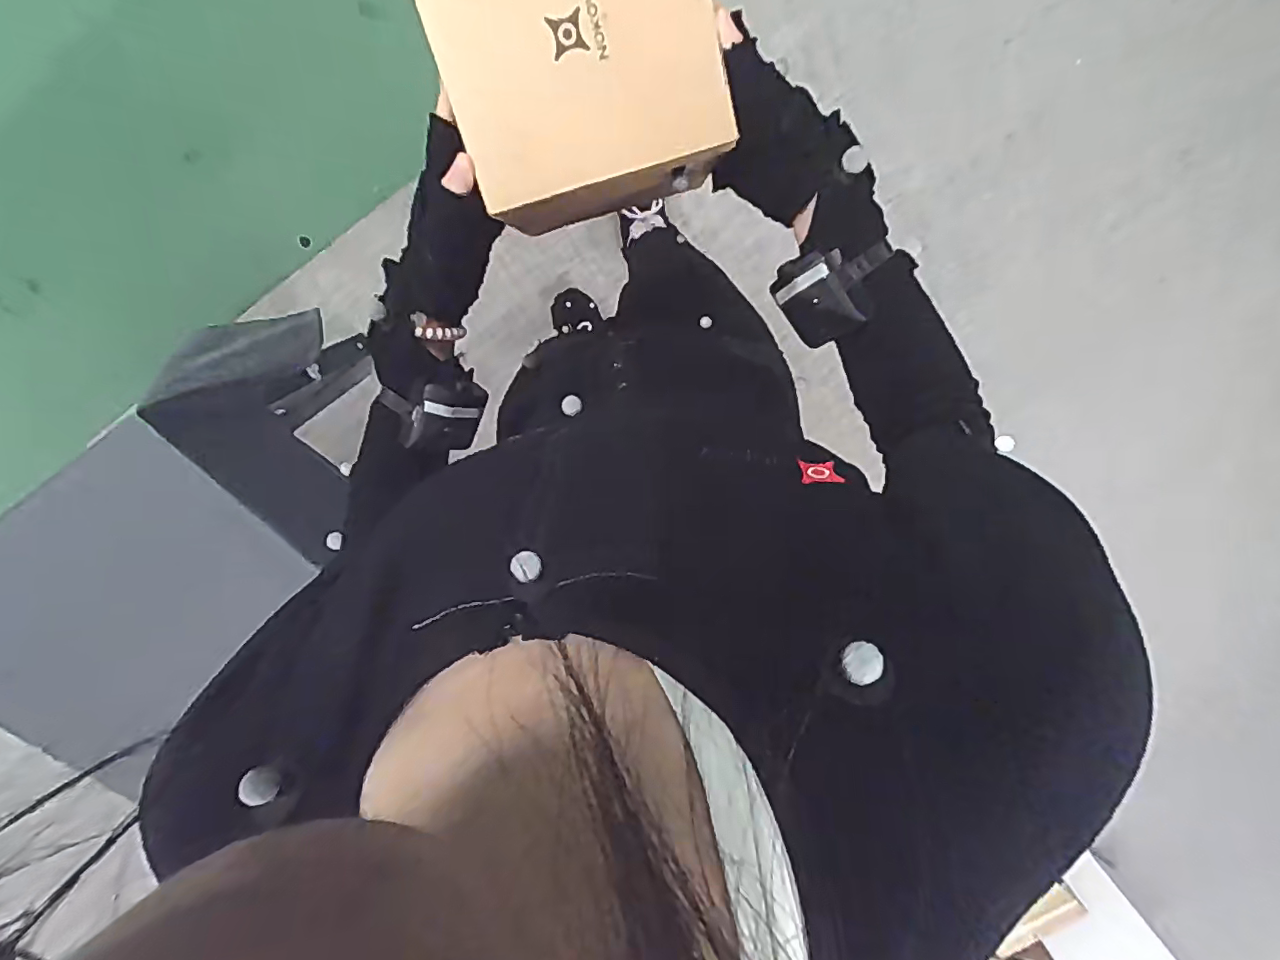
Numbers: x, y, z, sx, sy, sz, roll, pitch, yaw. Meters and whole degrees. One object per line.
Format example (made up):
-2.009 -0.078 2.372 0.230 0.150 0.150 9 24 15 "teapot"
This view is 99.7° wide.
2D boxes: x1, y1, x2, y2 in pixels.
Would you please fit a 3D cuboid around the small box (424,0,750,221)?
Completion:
-0.038 -0.303 0.392 0.179 0.176 0.168 -16 110 1 "small box"
